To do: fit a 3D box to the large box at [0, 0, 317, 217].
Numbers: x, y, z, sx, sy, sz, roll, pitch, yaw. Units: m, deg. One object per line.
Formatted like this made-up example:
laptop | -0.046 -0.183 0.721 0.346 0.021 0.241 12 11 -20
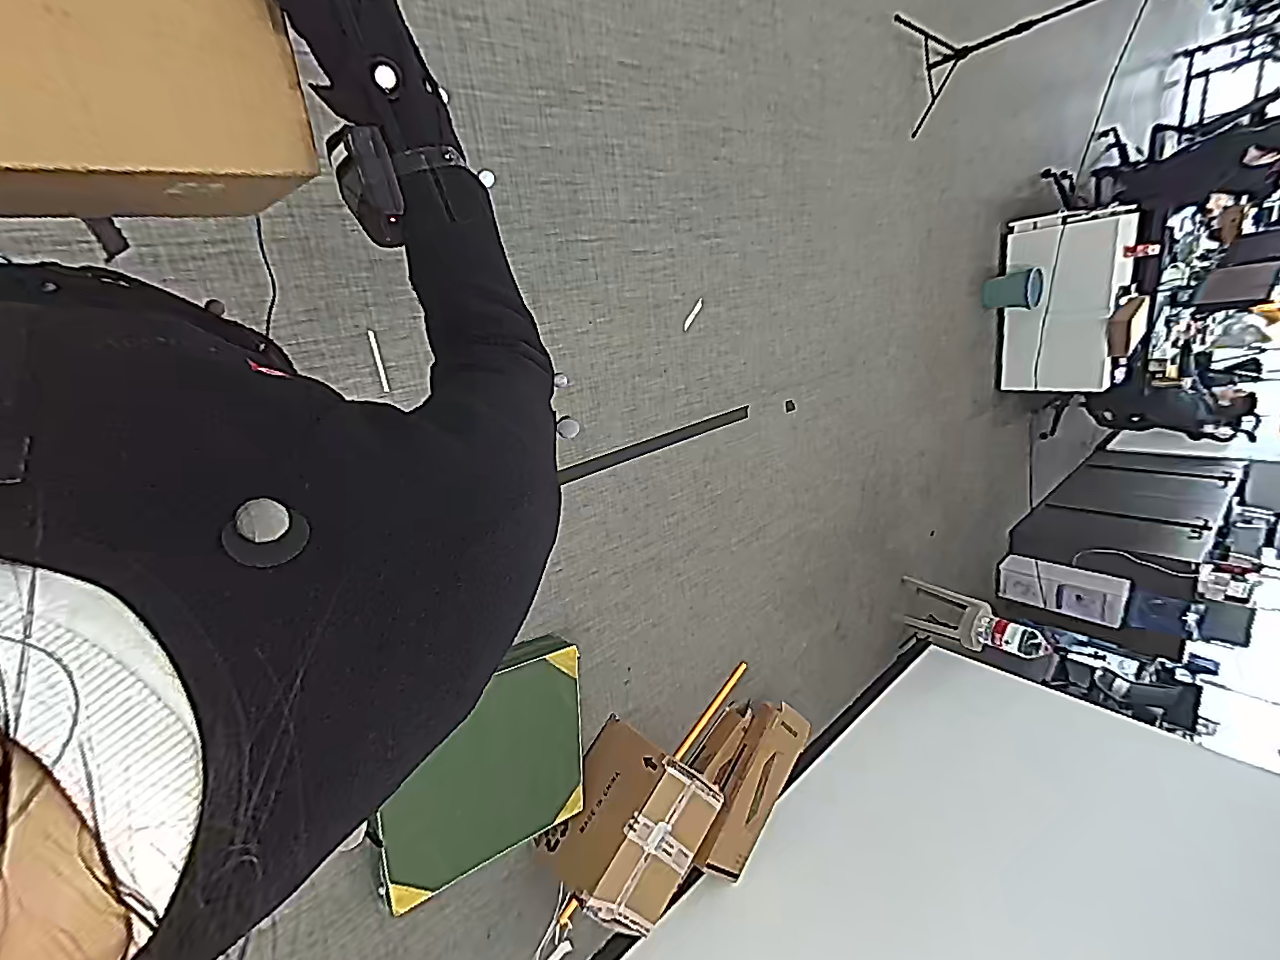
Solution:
large box | -0.489 -0.337 0.319 0.408 0.320 0.320 -23 120 -36
